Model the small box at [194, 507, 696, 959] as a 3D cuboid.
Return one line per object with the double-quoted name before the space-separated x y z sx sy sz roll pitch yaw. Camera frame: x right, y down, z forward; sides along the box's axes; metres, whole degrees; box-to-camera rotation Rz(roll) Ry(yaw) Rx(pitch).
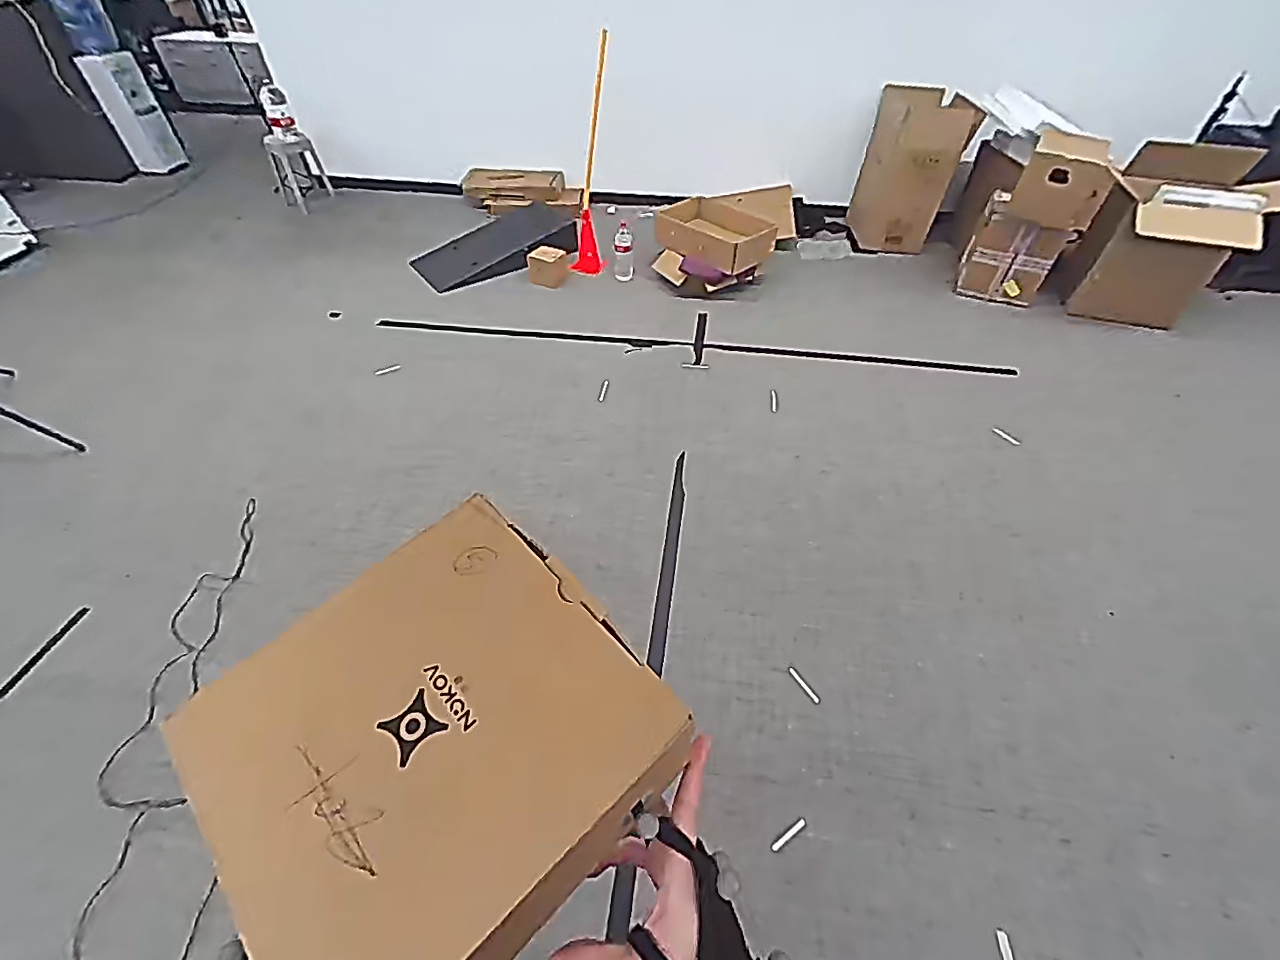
"small box" -0.087 0.155 0.313 0.179 0.176 0.168 -40 62 -19
